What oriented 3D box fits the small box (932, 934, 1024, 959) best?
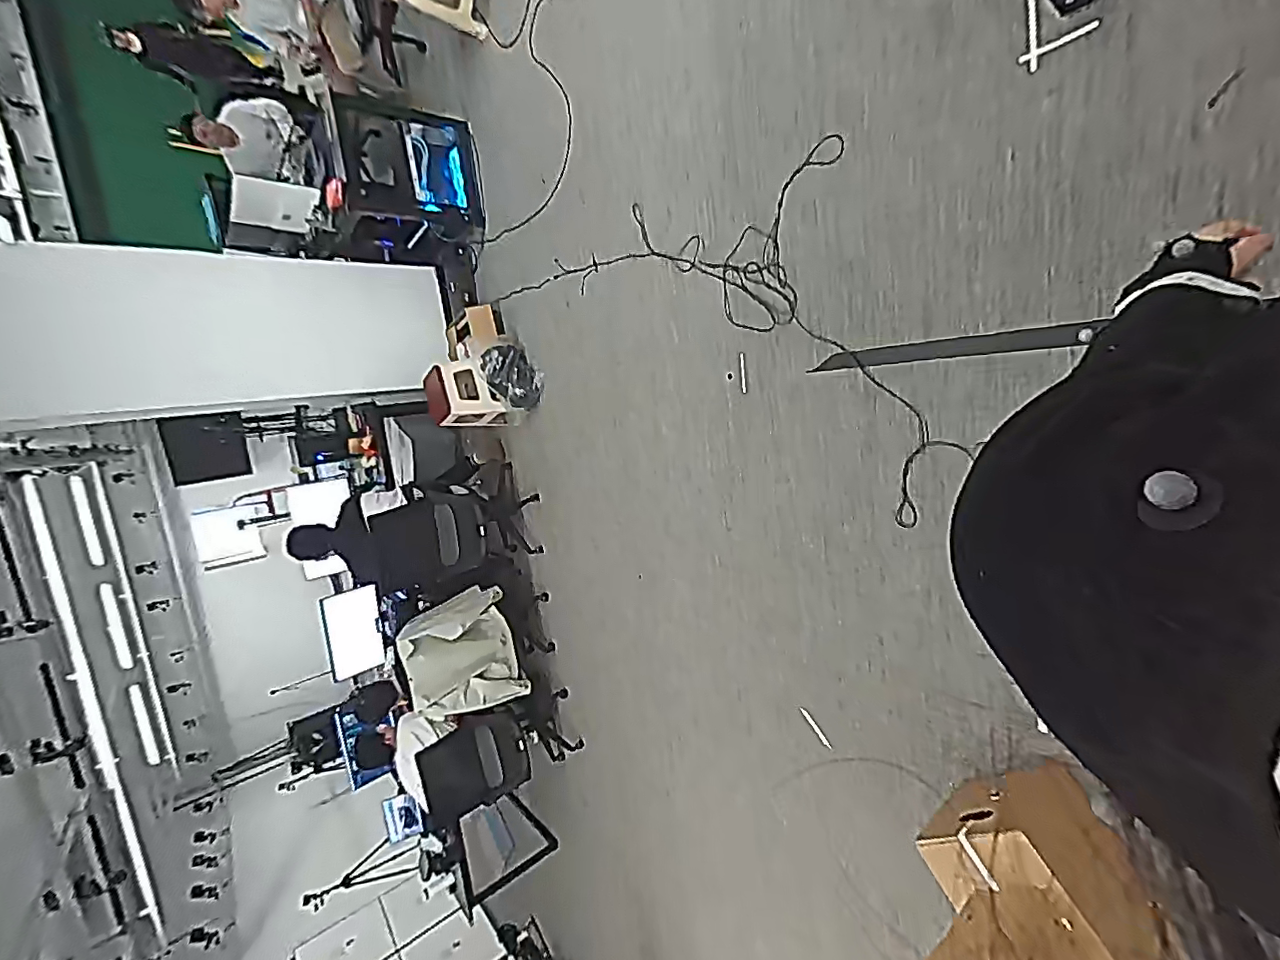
[{"bbox_3d":[0.692,1.049,1.075,0.168,0.176,0.179,59,140,22],"label":"small box"}]
